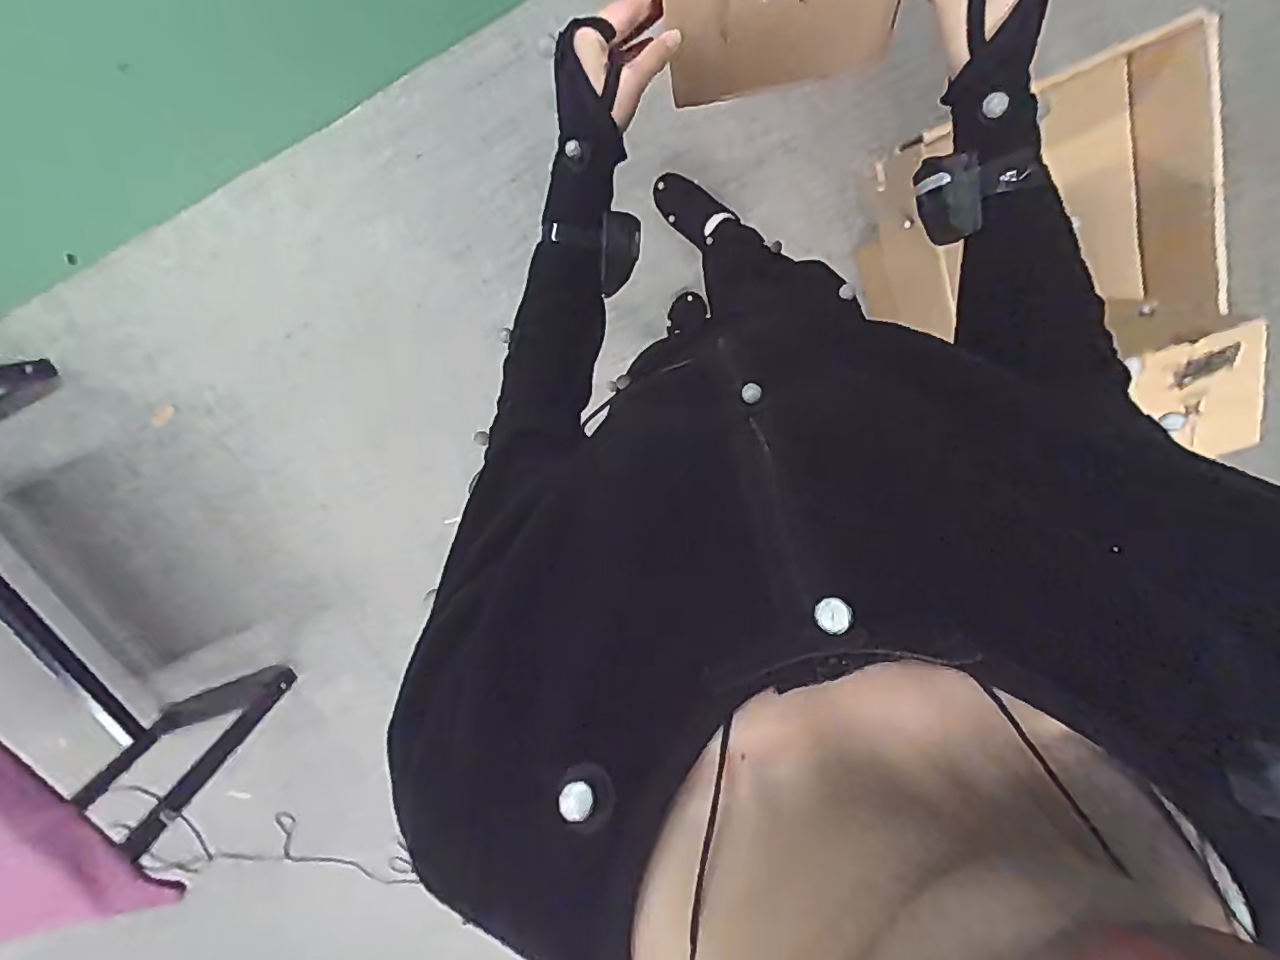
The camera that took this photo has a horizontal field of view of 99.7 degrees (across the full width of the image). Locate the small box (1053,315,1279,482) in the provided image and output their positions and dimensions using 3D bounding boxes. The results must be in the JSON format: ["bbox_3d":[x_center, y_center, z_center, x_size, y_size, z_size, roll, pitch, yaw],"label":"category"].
[{"bbox_3d":[0.721,-0.124,0.761,0.168,0.176,0.179,-17,110,9],"label":"small box"}]

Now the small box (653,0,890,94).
[{"bbox_3d":[0.089,-0.437,0.394,0.179,0.168,0.176,-6,71,9],"label":"small box"}]
